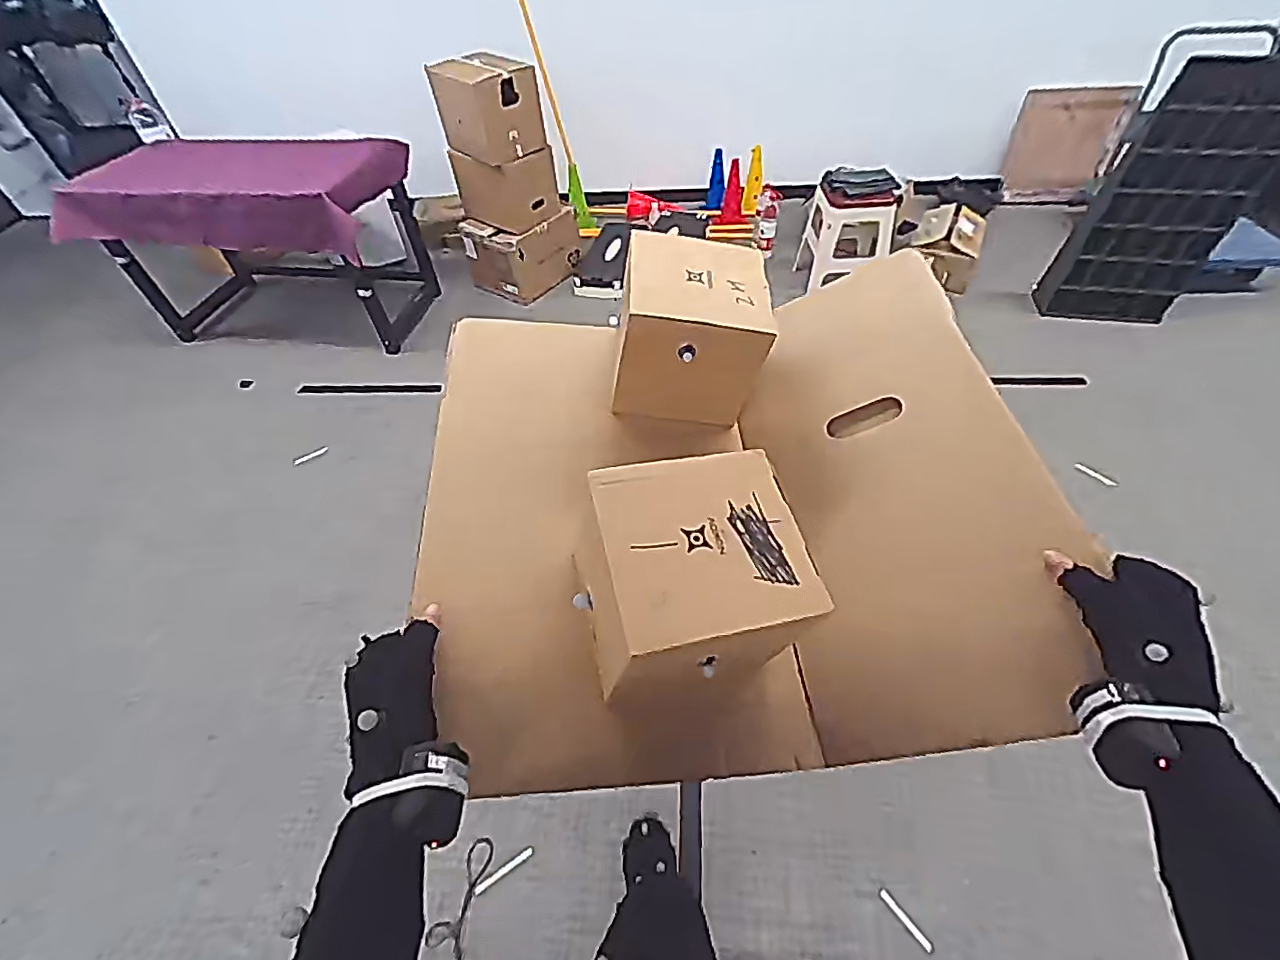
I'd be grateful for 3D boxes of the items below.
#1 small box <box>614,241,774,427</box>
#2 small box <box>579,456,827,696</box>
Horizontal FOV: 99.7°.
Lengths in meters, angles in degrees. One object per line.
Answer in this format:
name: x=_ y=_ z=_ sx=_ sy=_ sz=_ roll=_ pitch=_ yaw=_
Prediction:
small box: x=0.061 y=-0.190 z=0.731 sx=0.179 sy=0.176 sz=0.168 roll=7 pitch=56 yaw=-8
small box: x=0.044 y=0.097 z=0.533 sx=0.179 sy=0.176 sz=0.168 roll=-8 pitch=59 yaw=-15
